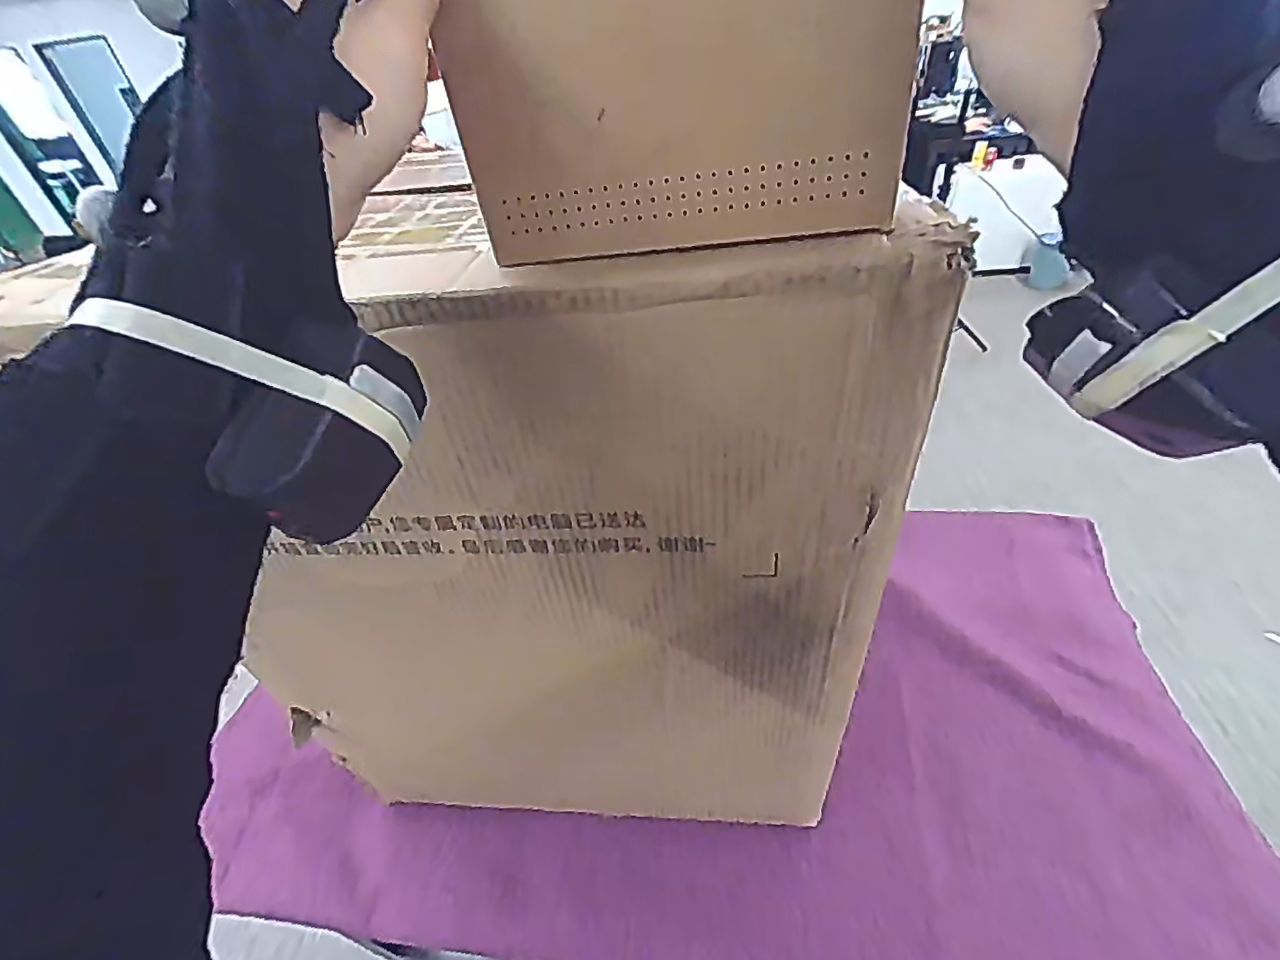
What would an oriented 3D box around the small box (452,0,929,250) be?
[{"bbox_3d":[0.022,-0.215,0.243,0.179,0.176,0.168,-1,40,10],"label":"small box"}]
